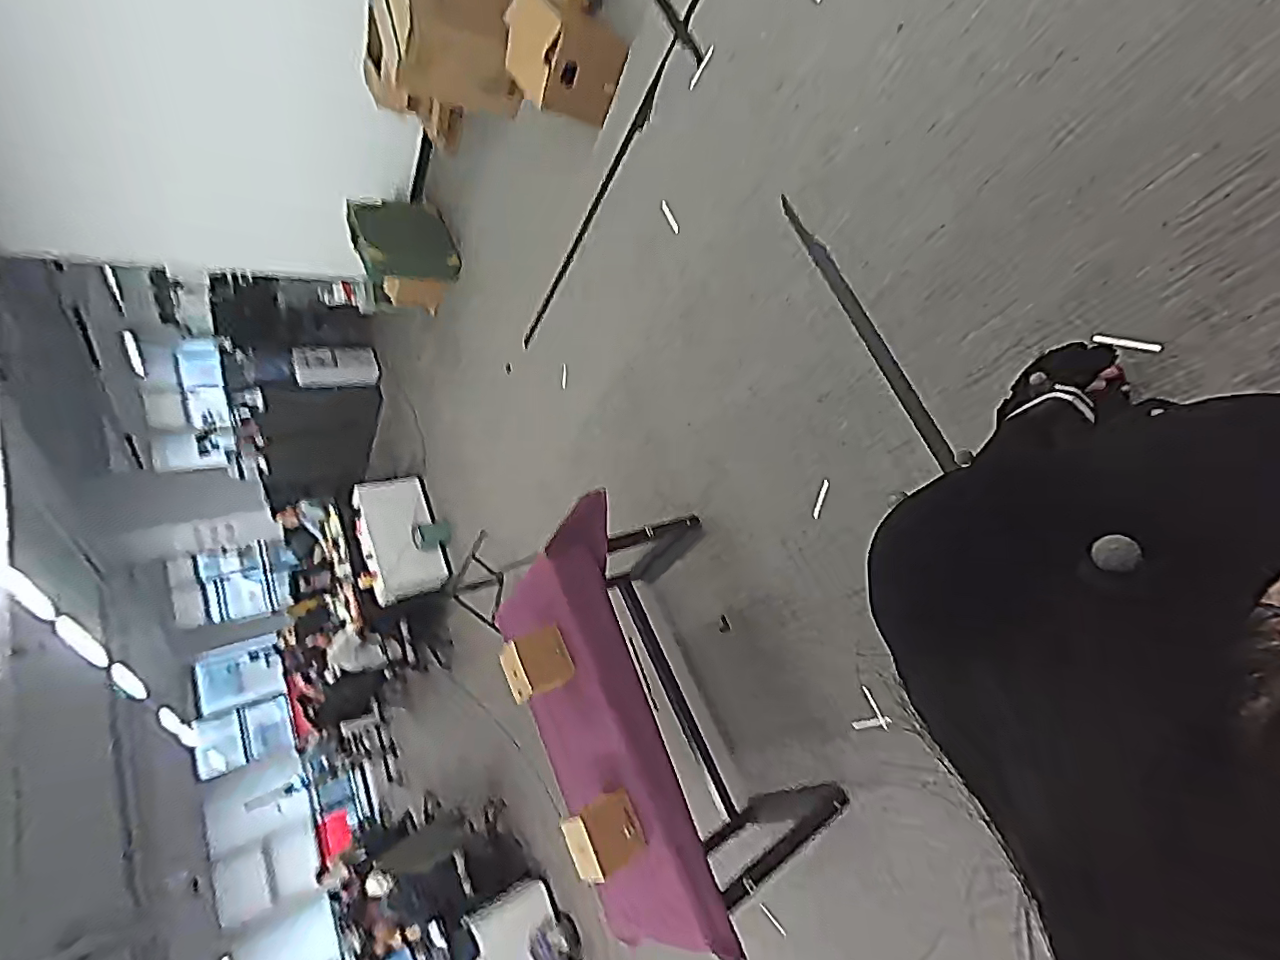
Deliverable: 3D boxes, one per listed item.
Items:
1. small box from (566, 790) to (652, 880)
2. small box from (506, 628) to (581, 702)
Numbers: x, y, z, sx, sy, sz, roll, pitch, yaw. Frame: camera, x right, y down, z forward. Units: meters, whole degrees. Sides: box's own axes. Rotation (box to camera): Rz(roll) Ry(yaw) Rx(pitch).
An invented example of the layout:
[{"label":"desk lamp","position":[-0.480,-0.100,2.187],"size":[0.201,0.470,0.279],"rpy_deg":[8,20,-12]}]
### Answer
[{"label":"small box","position":[-0.093,1.063,1.624],"size":[0.179,0.176,0.168],"rpy_deg":[-50,61,45]},{"label":"small box","position":[-0.326,0.615,1.821],"size":[0.168,0.176,0.179],"rpy_deg":[-52,58,46]}]
